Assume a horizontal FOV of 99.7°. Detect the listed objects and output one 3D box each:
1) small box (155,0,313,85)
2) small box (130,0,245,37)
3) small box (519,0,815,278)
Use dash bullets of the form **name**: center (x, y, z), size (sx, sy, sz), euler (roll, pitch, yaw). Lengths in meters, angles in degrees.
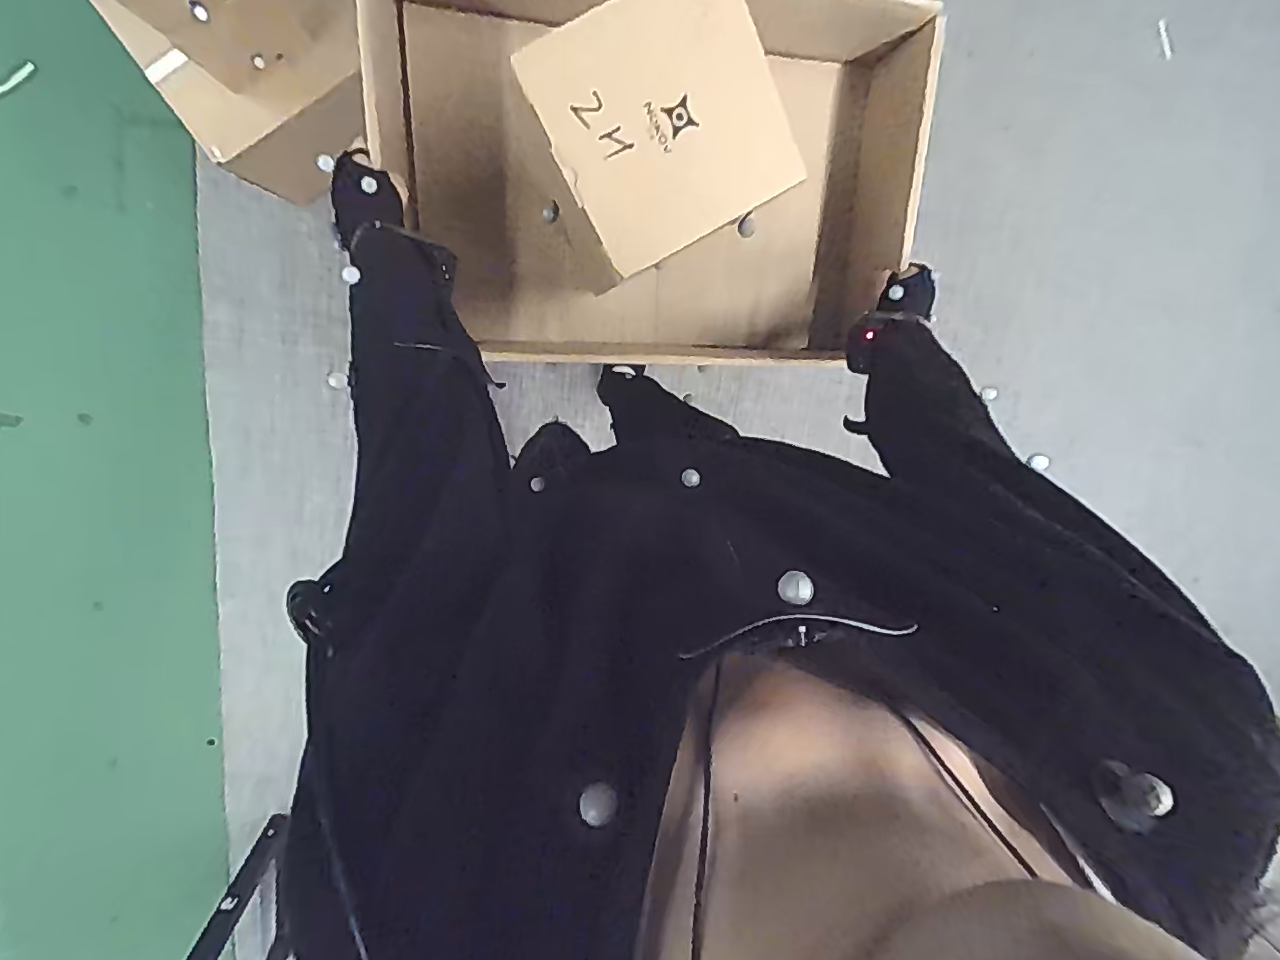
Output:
- **small box**: center (-0.648, -0.756, 0.818), size (0.168, 0.176, 0.179), euler (-29, 107, 1)
- **small box**: center (-0.621, -0.712, 0.664), size (0.168, 0.176, 0.179), euler (-32, 107, 2)
- **small box**: center (0.011, -0.295, 0.466), size (0.179, 0.176, 0.168), euler (-30, 108, -2)
